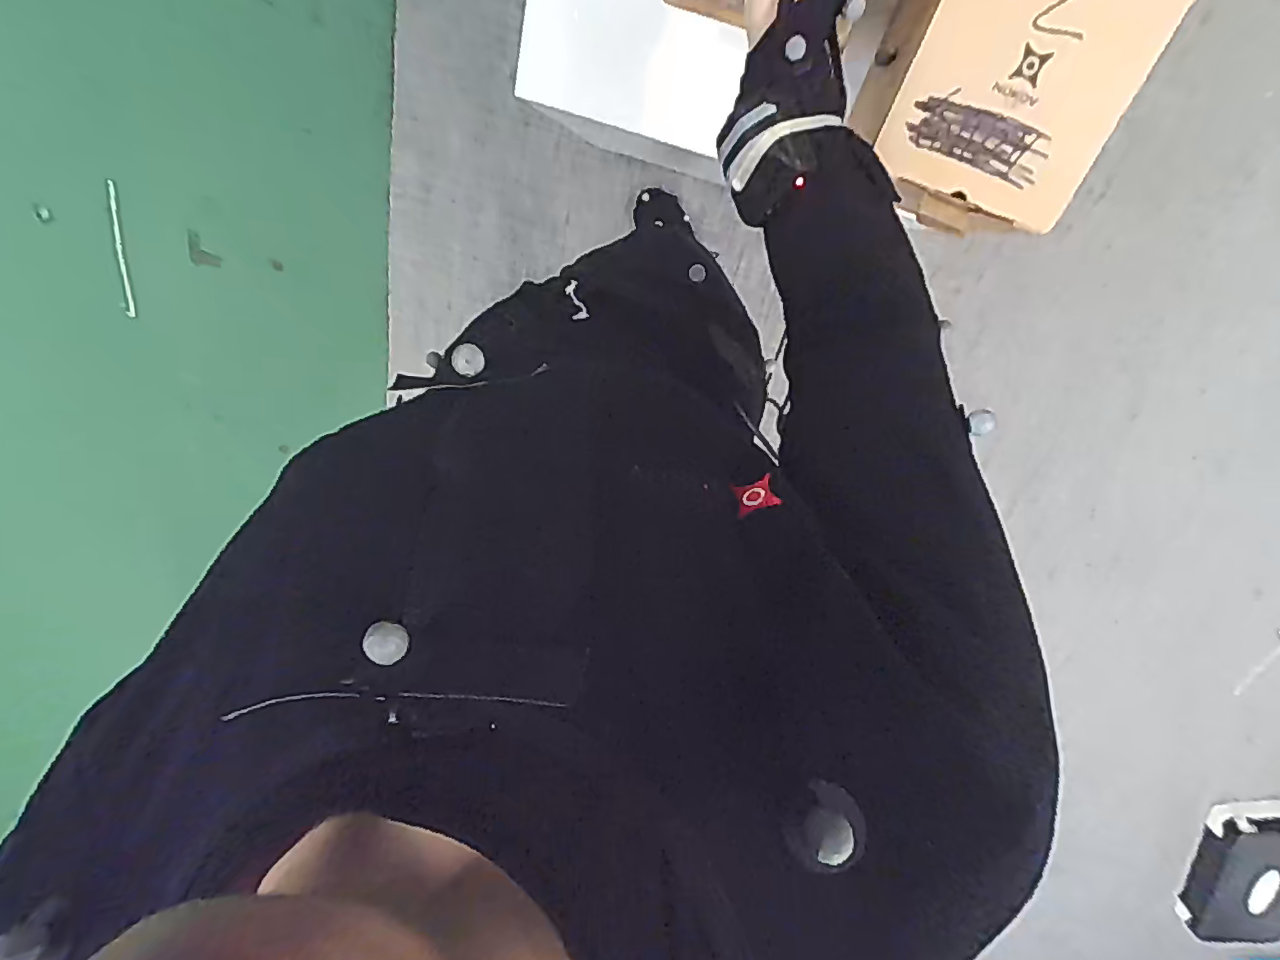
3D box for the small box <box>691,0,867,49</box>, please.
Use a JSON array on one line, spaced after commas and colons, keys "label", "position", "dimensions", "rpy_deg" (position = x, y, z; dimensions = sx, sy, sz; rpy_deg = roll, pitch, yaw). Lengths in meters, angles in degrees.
[{"label": "small box", "position": [0.122, -0.464, 0.376], "dimensions": [0.168, 0.176, 0.179], "rpy_deg": [21, 101, 3]}]
